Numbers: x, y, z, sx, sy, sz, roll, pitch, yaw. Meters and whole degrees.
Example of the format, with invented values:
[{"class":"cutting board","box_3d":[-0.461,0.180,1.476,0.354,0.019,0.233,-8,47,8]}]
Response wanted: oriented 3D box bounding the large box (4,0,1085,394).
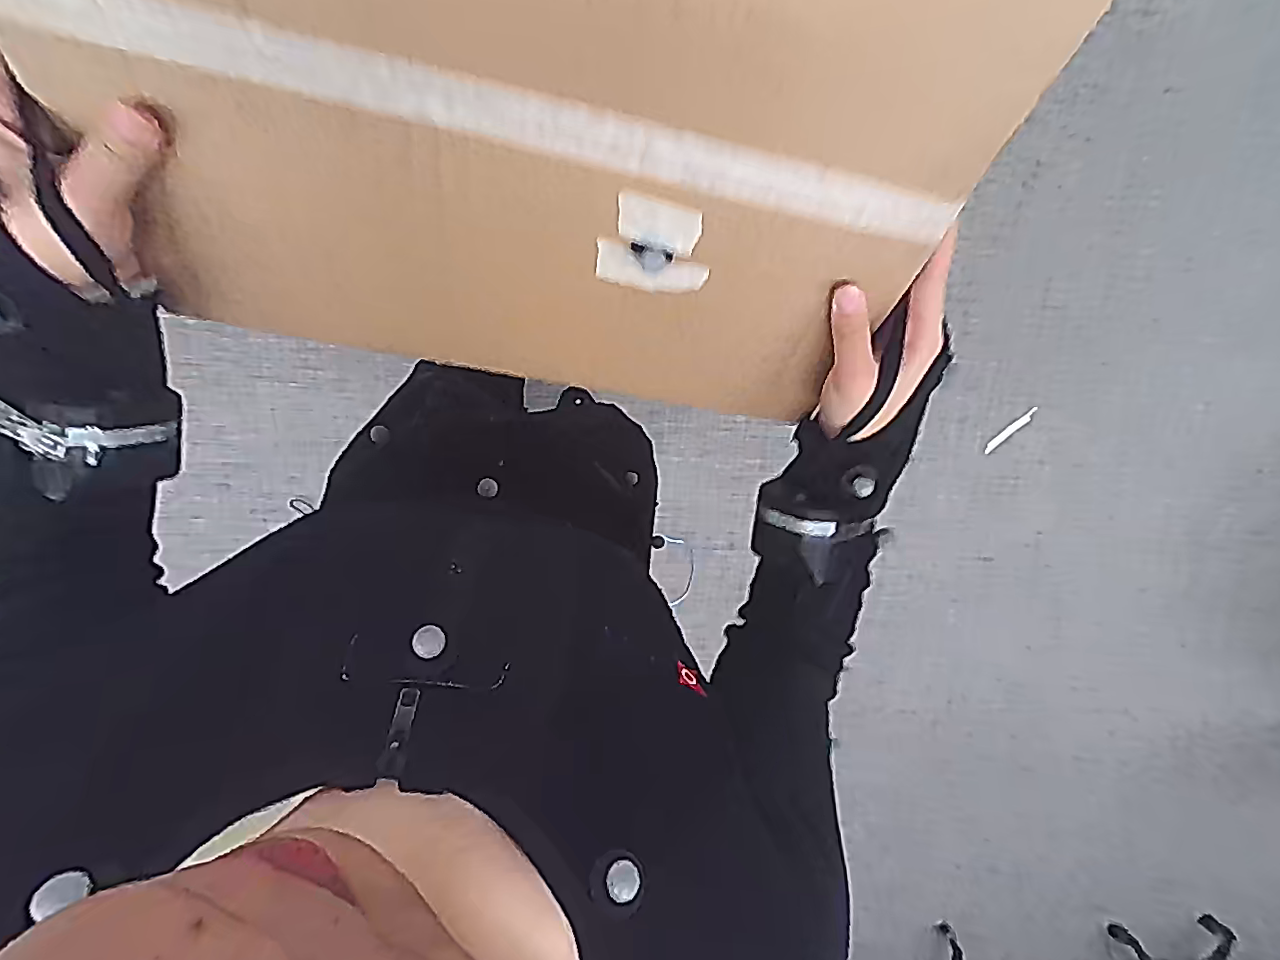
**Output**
[{"class":"large box","box_3d":[-0.042,-0.289,0.310,0.408,0.320,0.320,7,146,-10]}]
